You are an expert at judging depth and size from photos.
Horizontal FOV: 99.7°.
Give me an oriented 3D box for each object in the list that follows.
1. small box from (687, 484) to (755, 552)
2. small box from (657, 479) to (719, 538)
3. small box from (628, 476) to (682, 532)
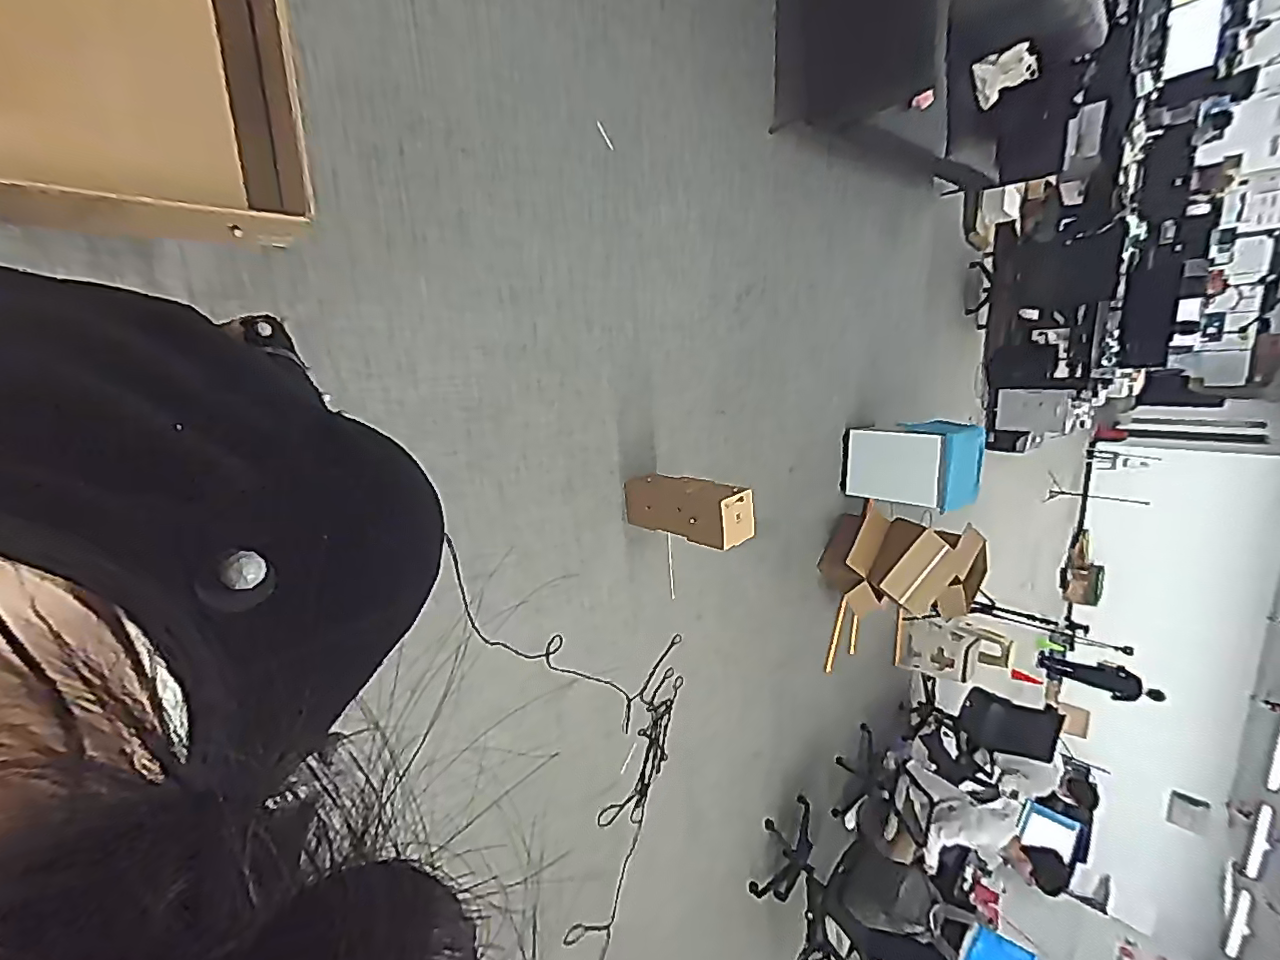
[{"bbox_3d":[0.276,0.124,1.852,0.168,0.176,0.179,-18,109,-40],"label":"small box"},{"bbox_3d":[0.176,0.096,1.979,0.168,0.176,0.179,-15,107,-40],"label":"small box"},{"bbox_3d":[0.065,0.086,2.100,0.168,0.176,0.179,-15,108,-40],"label":"small box"}]
